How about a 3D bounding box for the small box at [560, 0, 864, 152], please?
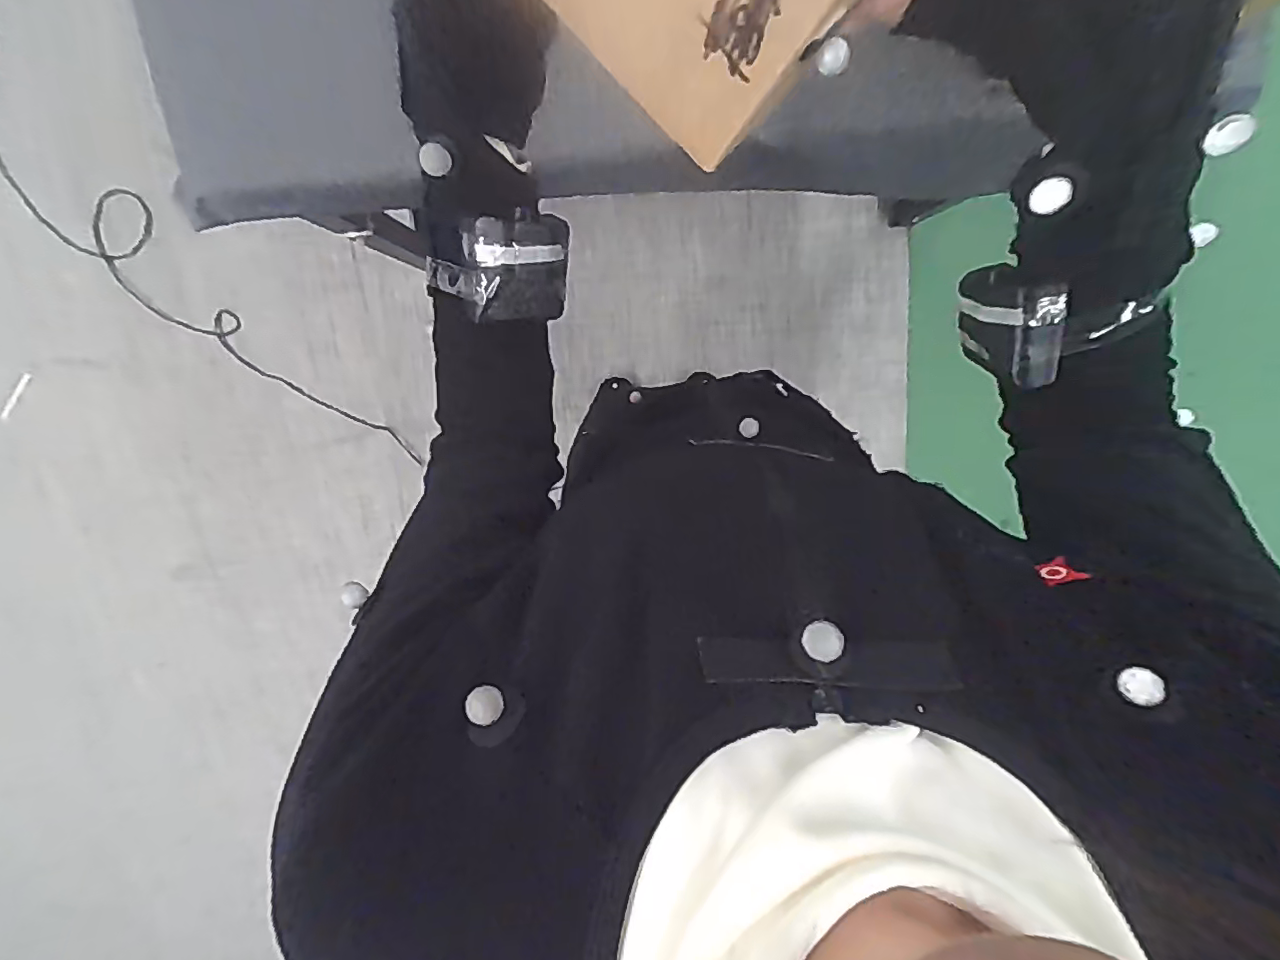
[{"bbox_3d":[0.047,-0.276,0.189,0.179,0.168,0.176,44,72,-12],"label":"small box"}]
